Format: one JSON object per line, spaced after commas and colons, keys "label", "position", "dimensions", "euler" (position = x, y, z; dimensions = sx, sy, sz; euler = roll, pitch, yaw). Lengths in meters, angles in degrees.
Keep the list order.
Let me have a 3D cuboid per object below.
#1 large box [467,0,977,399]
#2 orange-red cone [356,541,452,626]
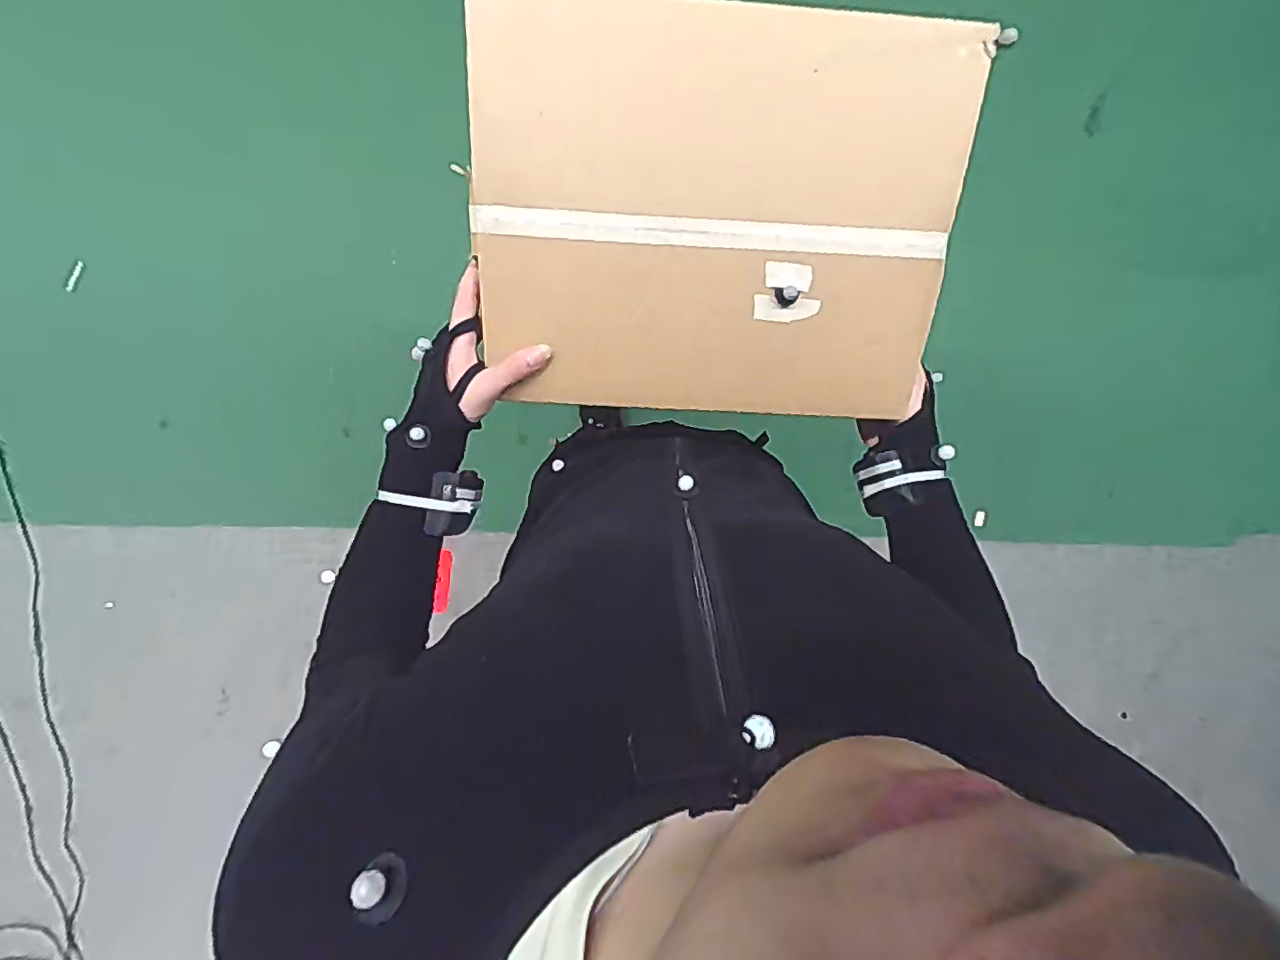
{"label": "large box", "position": [0.054, -0.280, 0.604], "dimensions": [0.408, 0.320, 0.320], "euler": [2, 113, -3]}
{"label": "orange-red cone", "position": [-0.661, 0.308, 1.441], "dimensions": [0.199, 0.360, 0.198], "euler": [9, 96, -4]}
